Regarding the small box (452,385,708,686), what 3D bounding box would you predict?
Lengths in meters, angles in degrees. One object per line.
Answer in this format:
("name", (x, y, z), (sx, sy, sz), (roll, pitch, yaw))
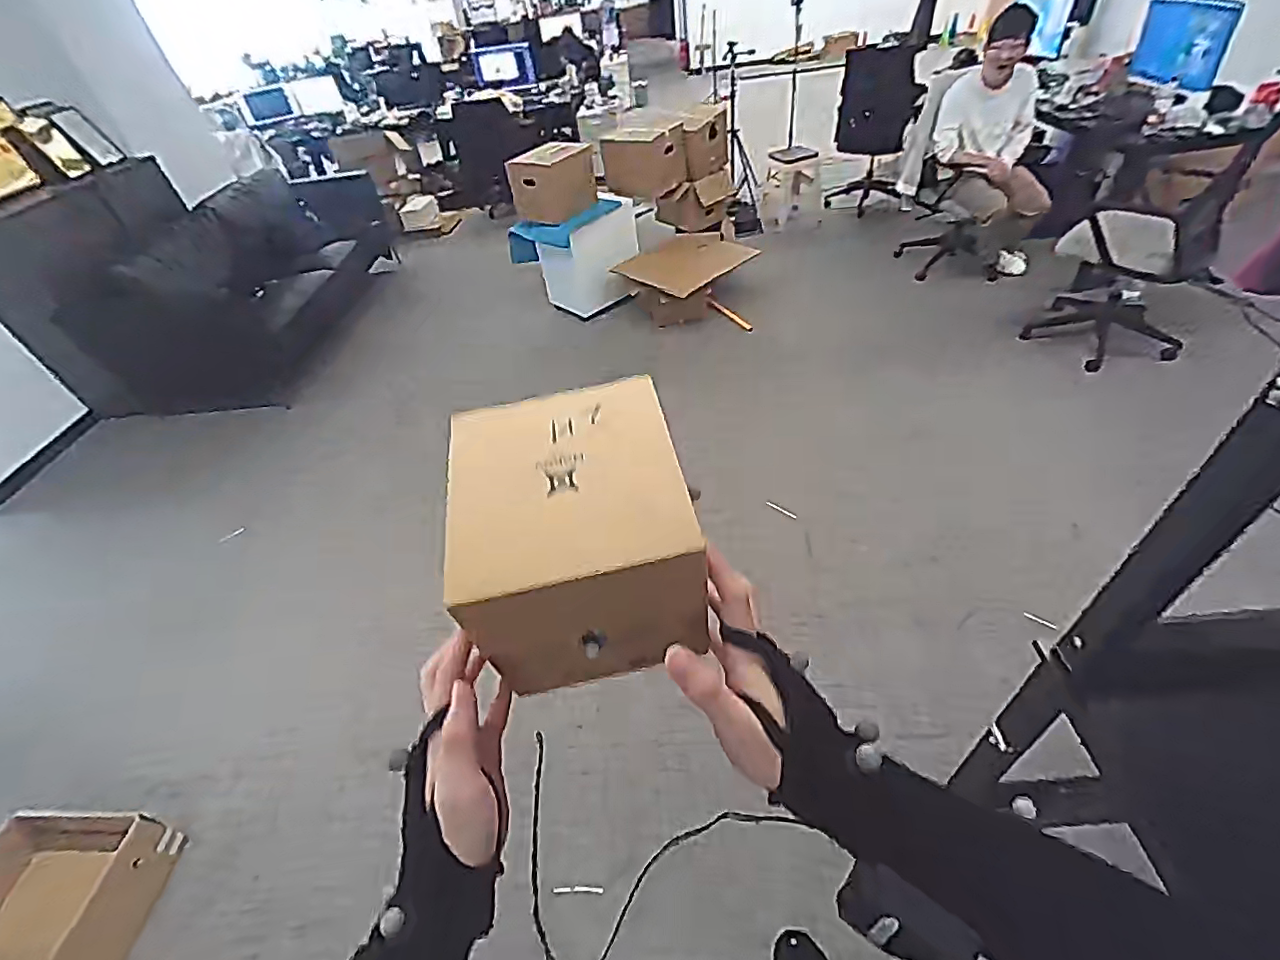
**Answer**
("small box", (-0.042, 0.053, 0.449), (0.168, 0.176, 0.179), (-12, 48, -2))
